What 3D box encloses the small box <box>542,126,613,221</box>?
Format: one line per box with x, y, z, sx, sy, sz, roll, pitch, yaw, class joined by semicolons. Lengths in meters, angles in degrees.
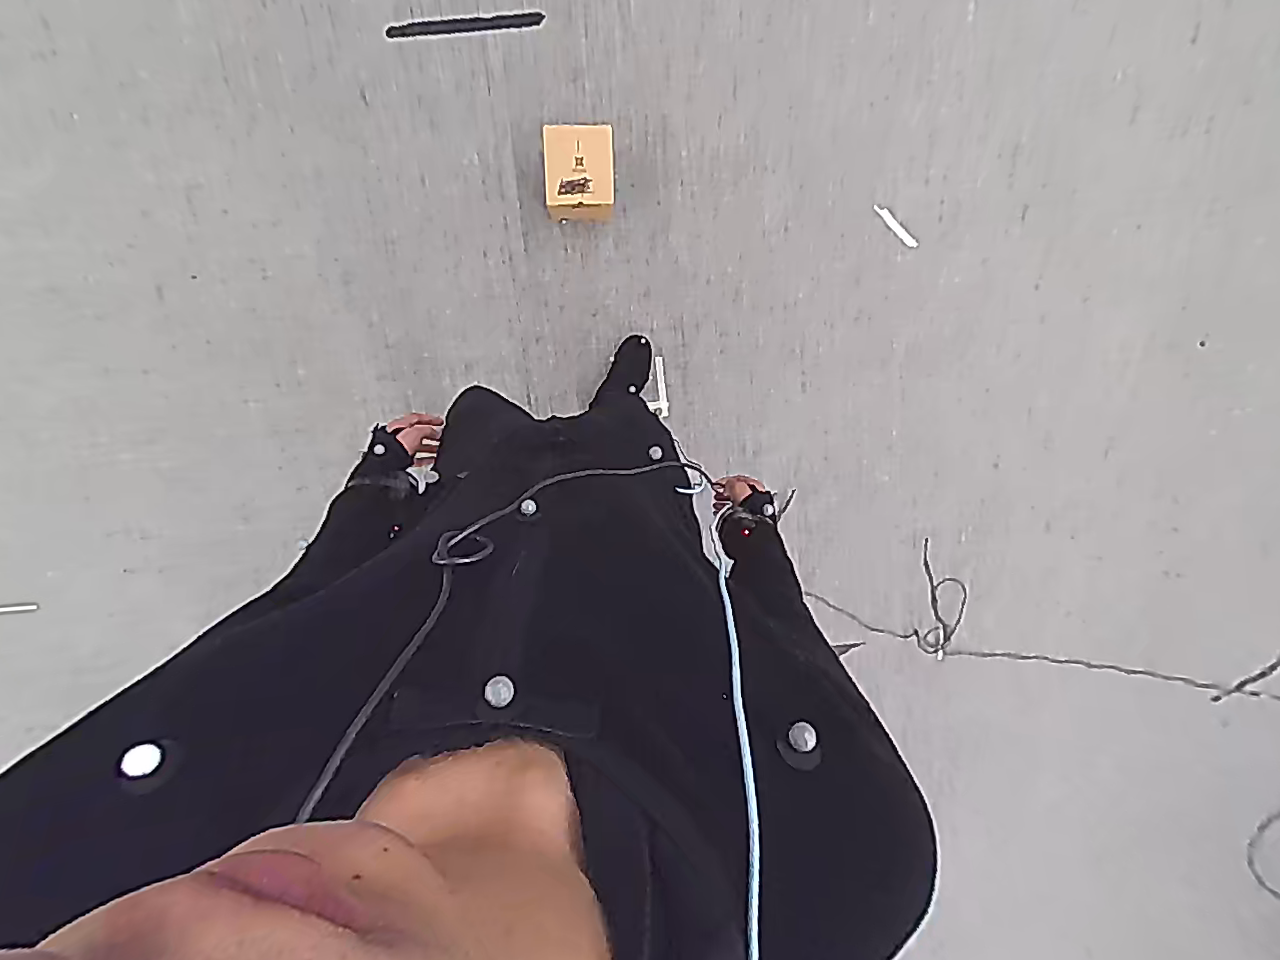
-0.152;-0.763;1.364;0.168;0.176;0.179;-2;103;-3;small box
